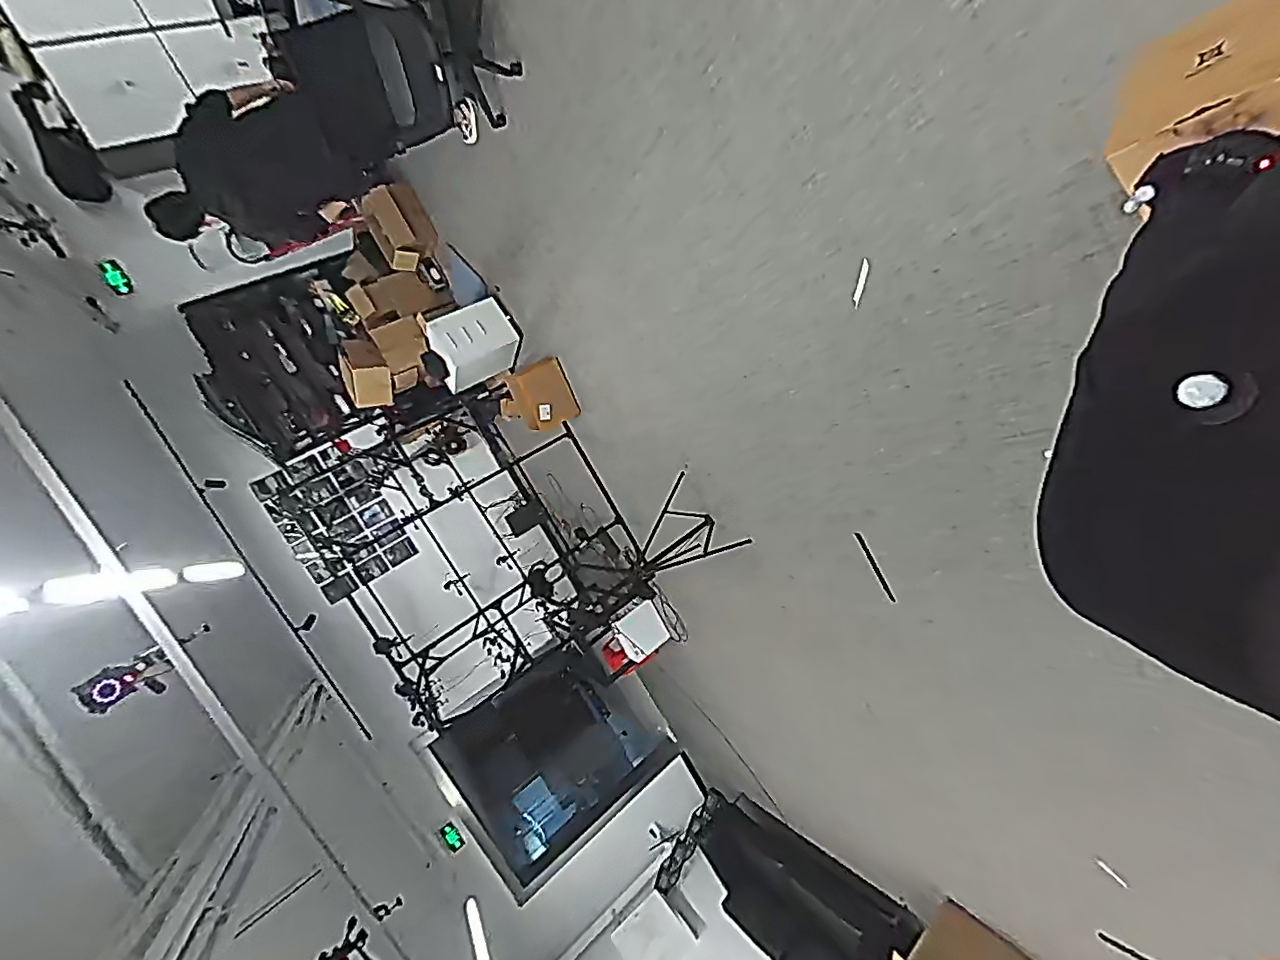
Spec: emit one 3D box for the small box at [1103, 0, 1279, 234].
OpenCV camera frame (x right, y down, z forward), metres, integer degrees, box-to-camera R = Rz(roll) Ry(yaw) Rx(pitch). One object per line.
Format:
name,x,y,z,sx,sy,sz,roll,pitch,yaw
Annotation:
small box,0.686,-0.419,0.625,0.176,0.179,0.168,32,164,-24
